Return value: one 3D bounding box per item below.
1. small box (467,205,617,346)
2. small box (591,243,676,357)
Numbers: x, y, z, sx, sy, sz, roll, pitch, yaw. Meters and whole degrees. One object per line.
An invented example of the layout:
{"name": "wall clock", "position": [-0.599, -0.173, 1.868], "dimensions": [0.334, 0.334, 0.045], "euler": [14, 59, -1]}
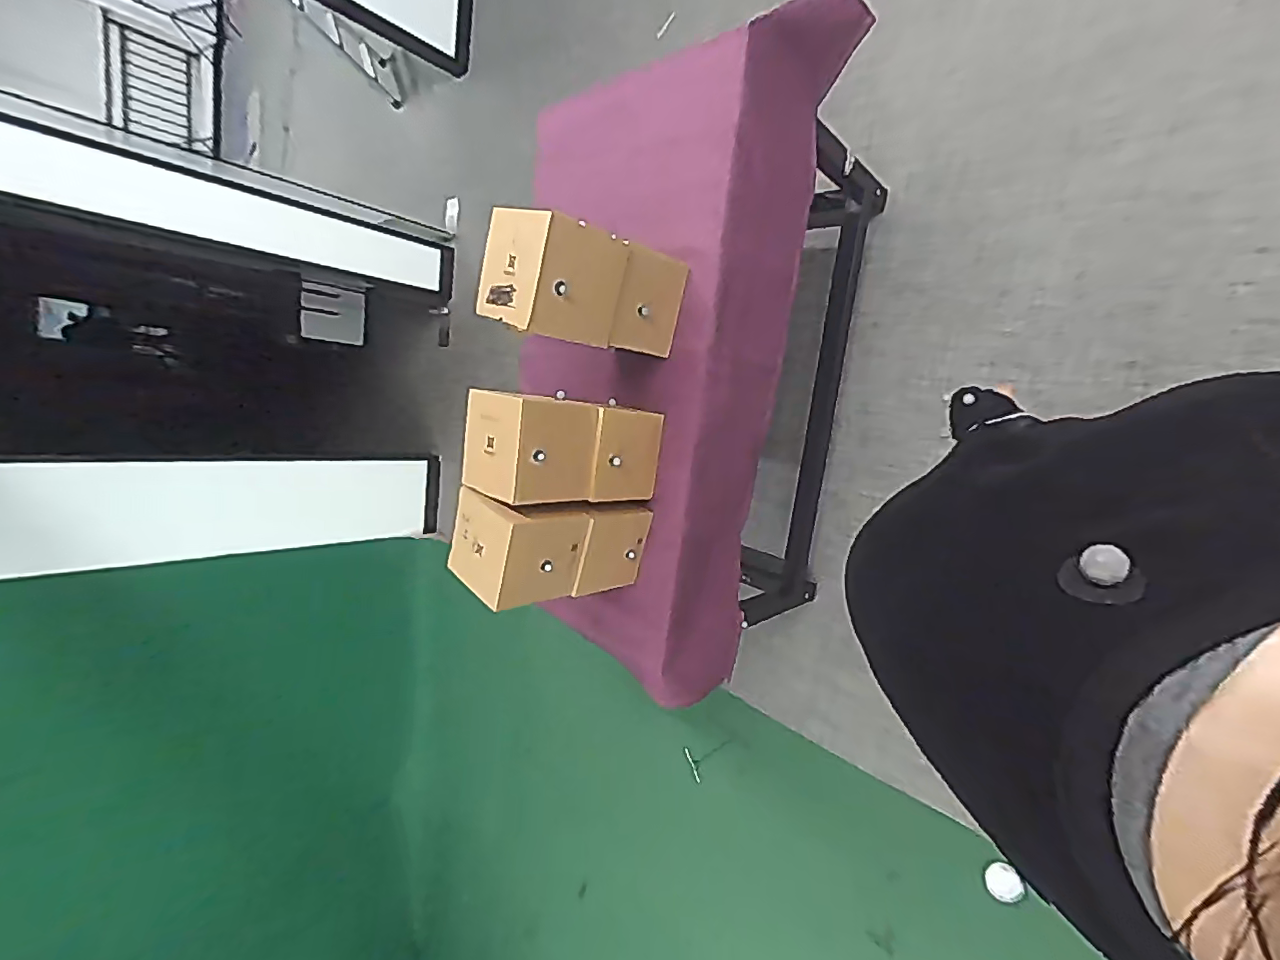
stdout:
{"name": "small box", "position": [-0.161, -0.334, 0.901], "dimensions": [0.168, 0.176, 0.179], "euler": [28, 108, 39]}
{"name": "small box", "position": [-0.053, -0.340, 1.026], "dimensions": [0.168, 0.176, 0.179], "euler": [25, 108, 39]}
